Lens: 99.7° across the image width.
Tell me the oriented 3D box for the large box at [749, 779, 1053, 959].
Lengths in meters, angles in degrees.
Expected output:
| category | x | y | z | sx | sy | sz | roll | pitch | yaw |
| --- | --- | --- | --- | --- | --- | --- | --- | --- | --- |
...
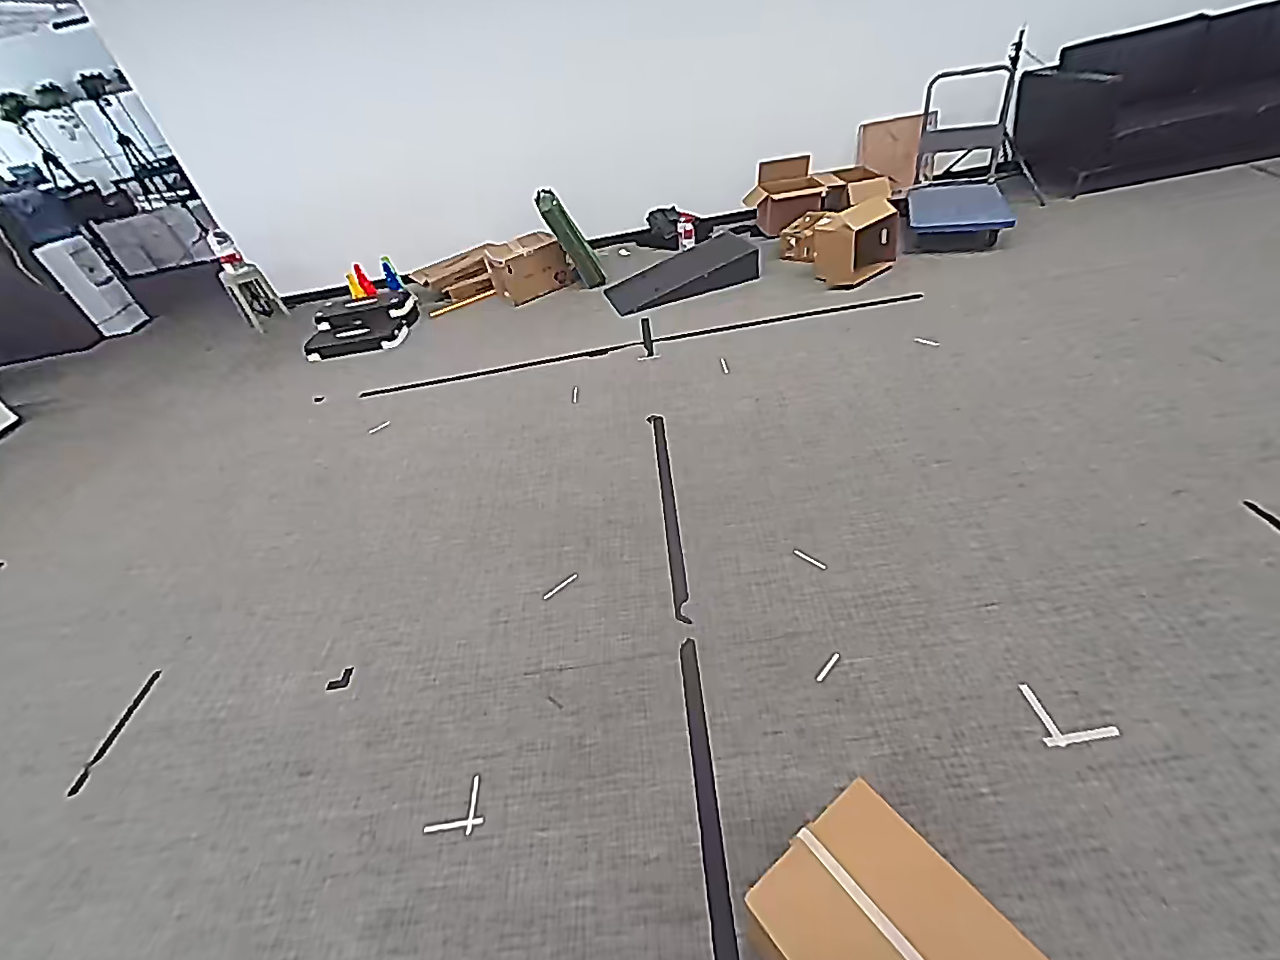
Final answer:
| category | x | y | z | sx | sy | sz | roll | pitch | yaw |
| --- | --- | --- | --- | --- | --- | --- | --- | --- | --- |
| large box | 0.441 | 0.847 | 0.958 | 0.320 | 0.320 | 0.408 | -31 | 45 | -21 |
